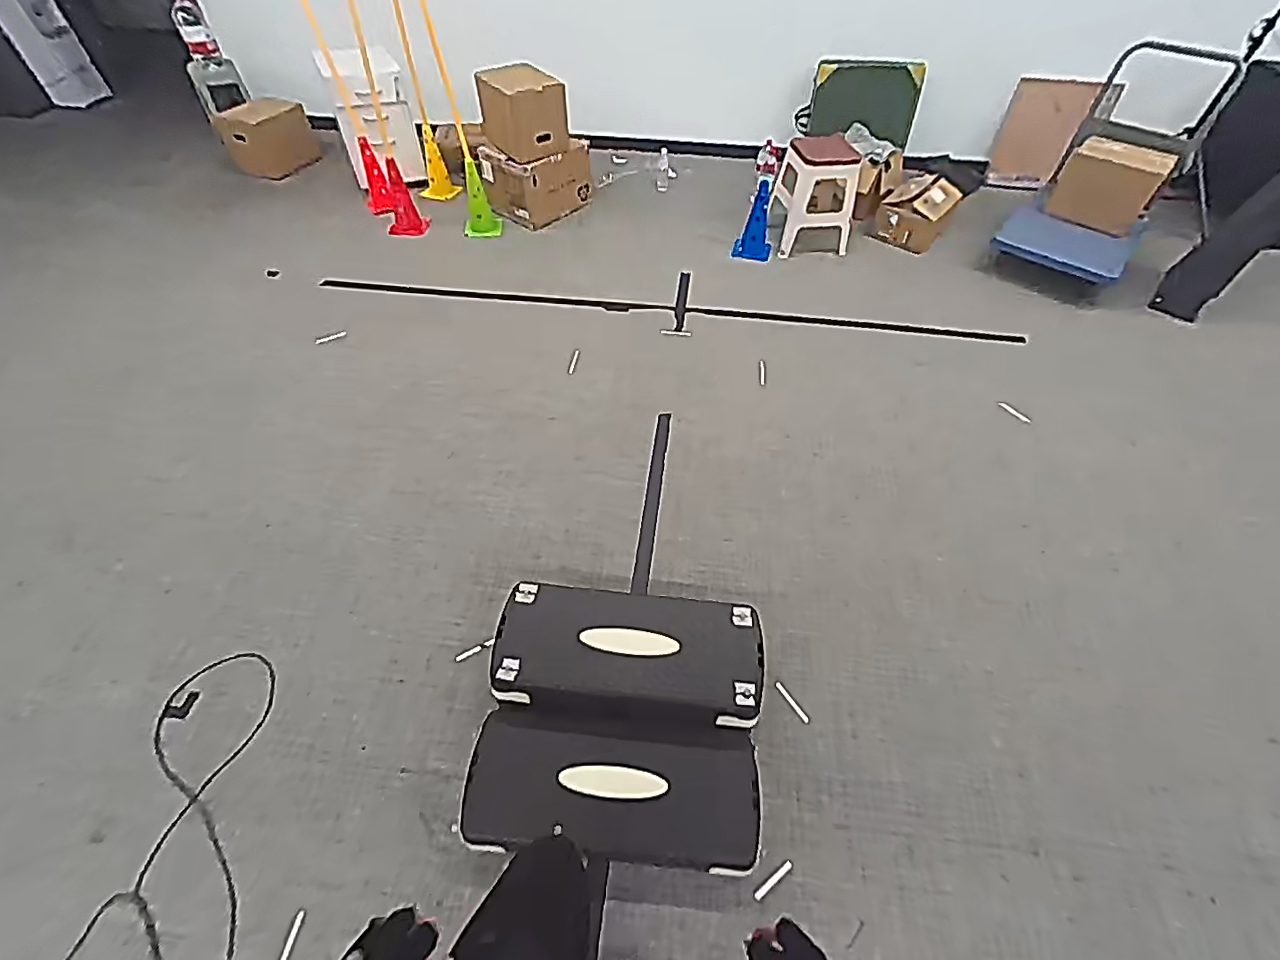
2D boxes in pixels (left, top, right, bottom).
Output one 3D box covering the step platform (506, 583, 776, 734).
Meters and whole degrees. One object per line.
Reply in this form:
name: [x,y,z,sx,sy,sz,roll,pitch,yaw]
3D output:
step platform: [0.005,0.459,1.411,0.684,0.204,0.286,6,51,2]
